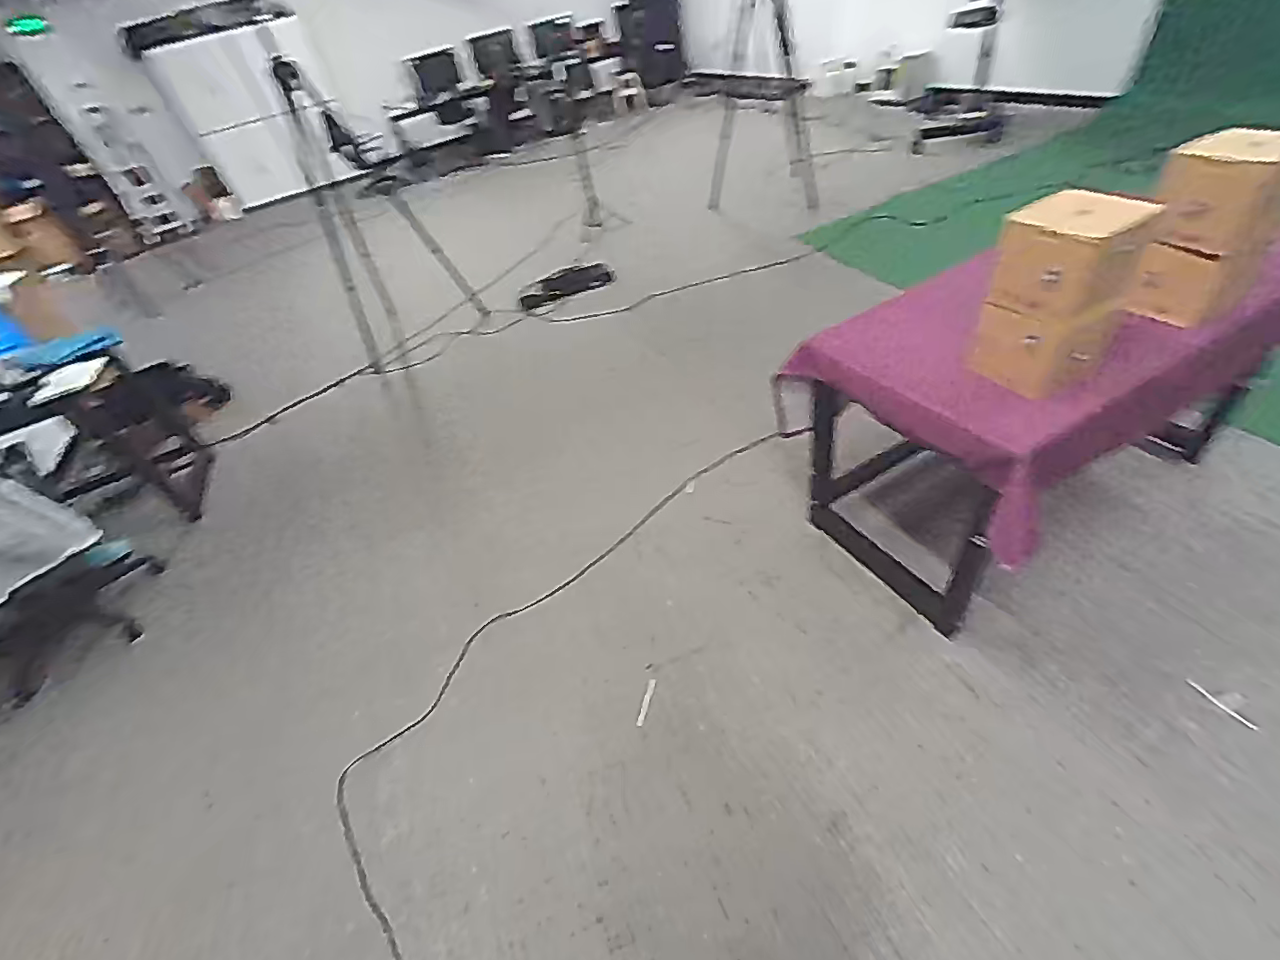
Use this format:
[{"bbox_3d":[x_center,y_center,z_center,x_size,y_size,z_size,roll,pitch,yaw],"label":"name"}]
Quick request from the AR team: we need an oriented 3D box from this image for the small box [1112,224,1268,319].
[{"bbox_3d":[1.204,-0.482,1.202,0.179,0.176,0.168,-27,44,-13],"label":"small box"}]

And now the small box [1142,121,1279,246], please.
[{"bbox_3d":[1.168,-0.593,1.086,0.179,0.176,0.168,-24,43,-9],"label":"small box"}]

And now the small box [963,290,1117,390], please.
[{"bbox_3d":[0.819,-0.310,1.129,0.168,0.176,0.179,-26,44,-12],"label":"small box"}]

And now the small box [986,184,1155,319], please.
[{"bbox_3d":[0.792,-0.428,1.020,0.179,0.176,0.168,-27,45,-13],"label":"small box"}]
